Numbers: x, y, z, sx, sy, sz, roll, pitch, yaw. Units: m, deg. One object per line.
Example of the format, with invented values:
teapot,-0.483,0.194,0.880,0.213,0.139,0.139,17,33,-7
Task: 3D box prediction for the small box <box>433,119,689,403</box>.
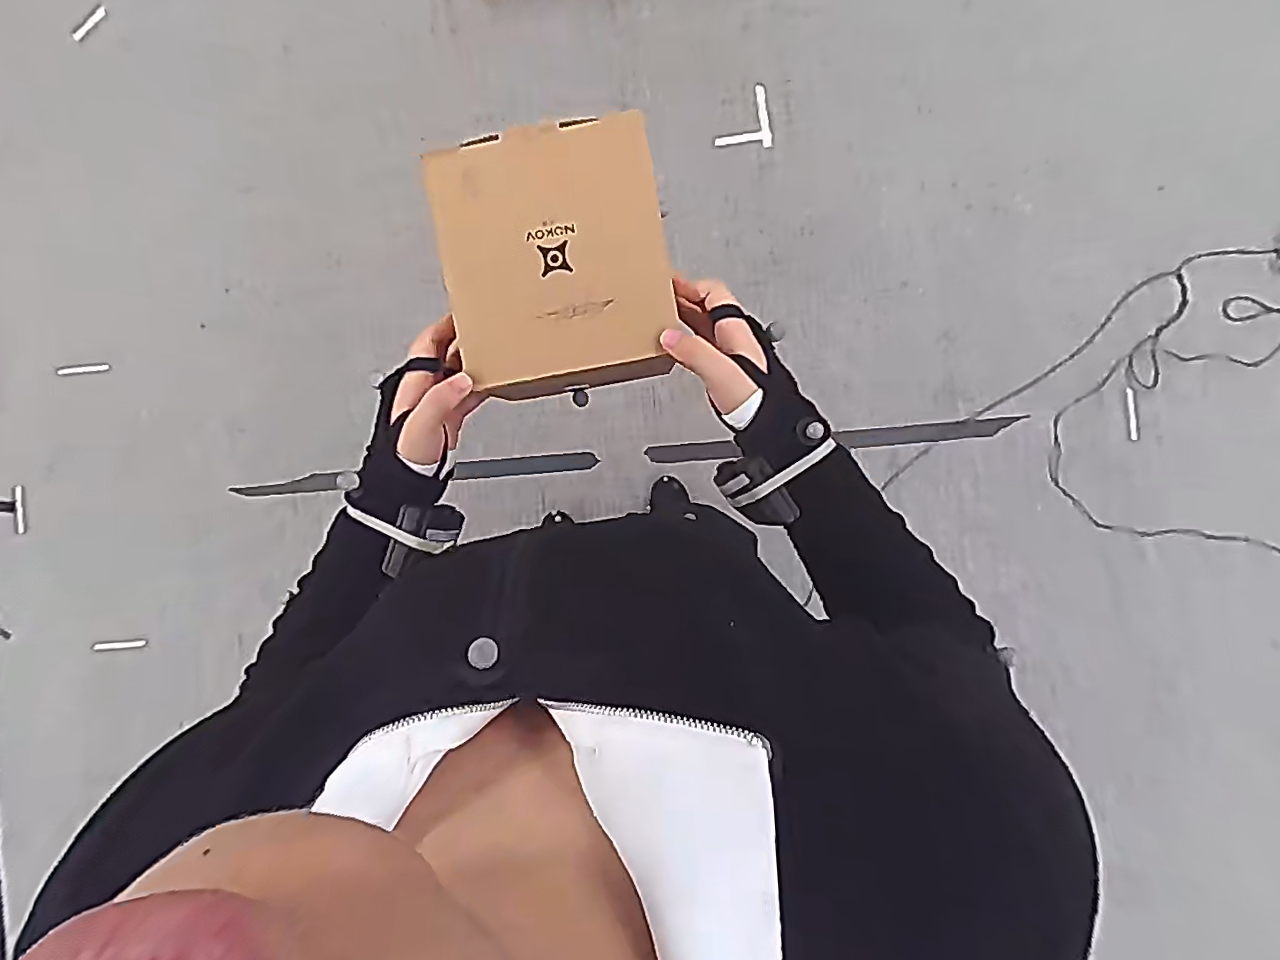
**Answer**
small box,-0.059,-0.170,0.476,0.168,0.176,0.179,-10,96,0
